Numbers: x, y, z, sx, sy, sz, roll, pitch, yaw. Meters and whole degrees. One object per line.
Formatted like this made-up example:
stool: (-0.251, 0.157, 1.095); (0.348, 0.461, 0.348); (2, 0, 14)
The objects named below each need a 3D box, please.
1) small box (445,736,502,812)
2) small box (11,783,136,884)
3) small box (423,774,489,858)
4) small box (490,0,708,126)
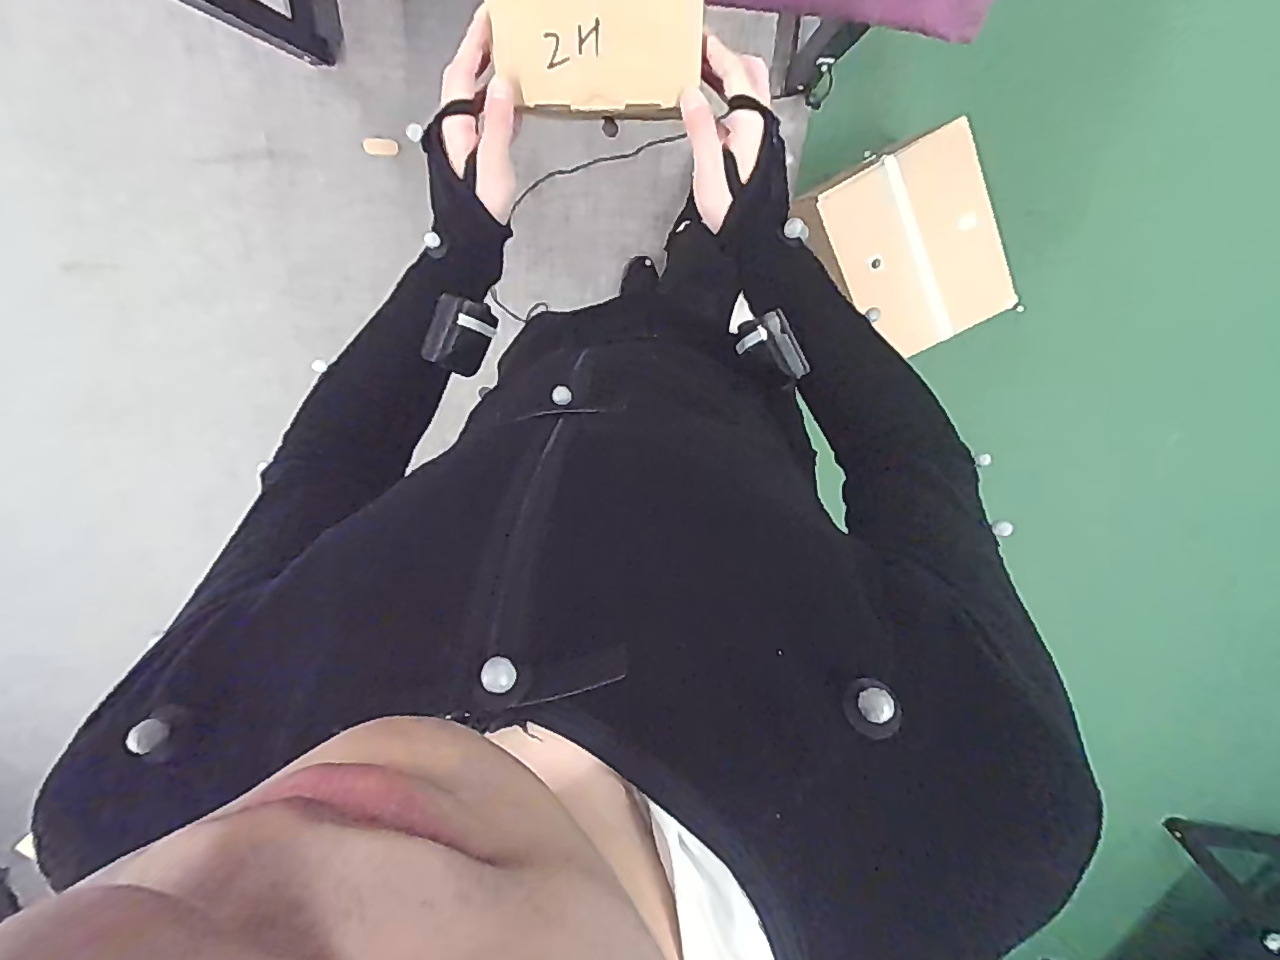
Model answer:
small box: (-0.638, 1.126, 2.076); (0.168, 0.176, 0.179); (12, 112, 1)
small box: (-1.680, 1.050, 1.616); (0.179, 0.176, 0.168); (-37, 107, 17)
small box: (-0.652, 1.194, 1.928); (0.168, 0.176, 0.179); (15, 113, -1)
small box: (-0.026, -0.414, 0.460); (0.168, 0.176, 0.179); (2, 120, 3)
